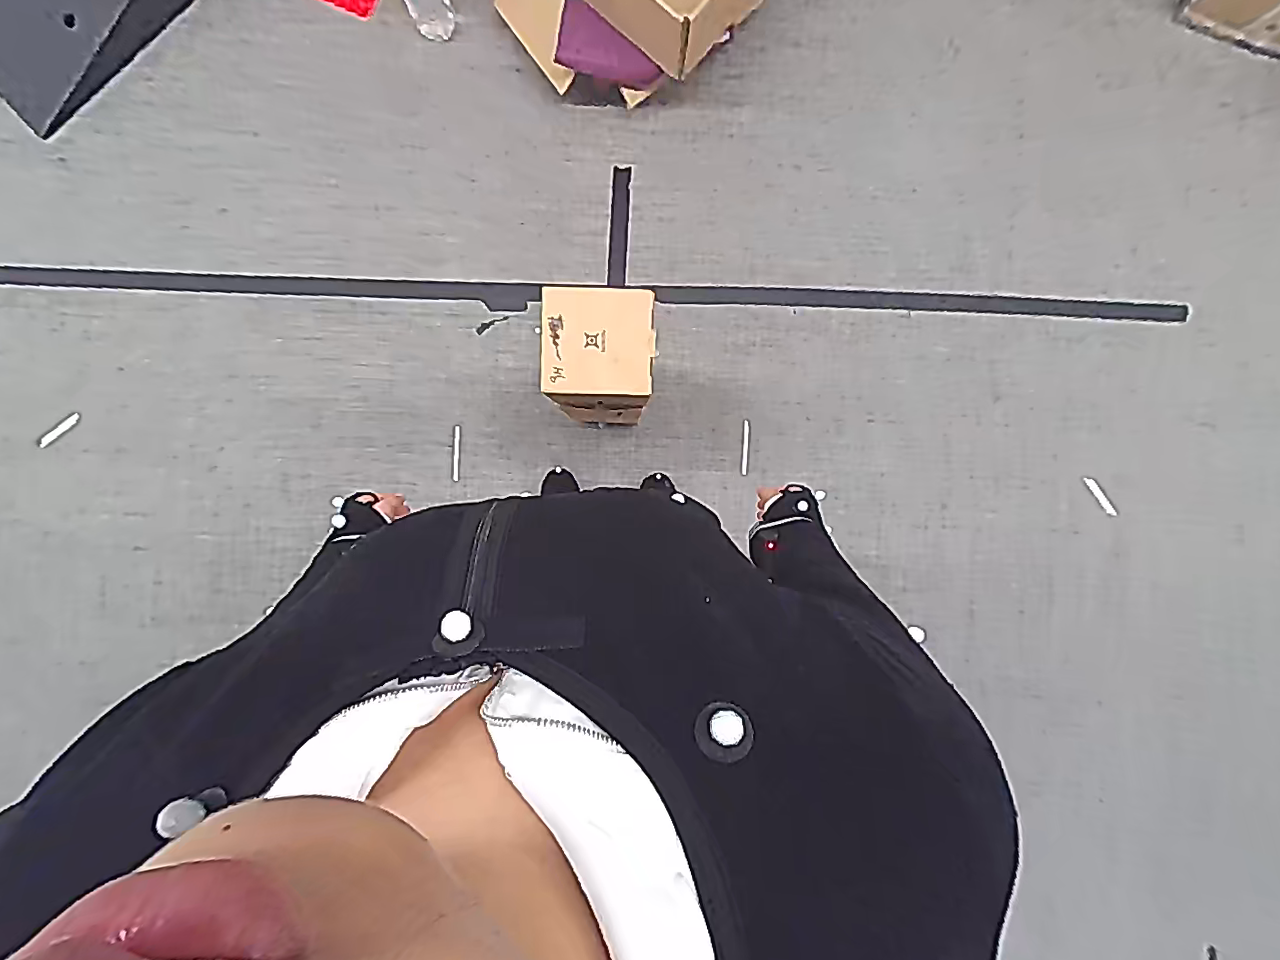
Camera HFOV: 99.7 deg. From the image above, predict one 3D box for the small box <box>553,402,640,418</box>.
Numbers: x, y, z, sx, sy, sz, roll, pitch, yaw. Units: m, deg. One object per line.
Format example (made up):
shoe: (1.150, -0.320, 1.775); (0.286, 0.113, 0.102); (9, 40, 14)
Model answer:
small box: (-0.079, -0.220, 1.089); (0.168, 0.176, 0.179); (2, 91, -2)

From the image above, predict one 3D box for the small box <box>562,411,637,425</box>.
small box: (-0.086, -0.223, 1.251); (0.168, 0.176, 0.179); (3, 93, -1)

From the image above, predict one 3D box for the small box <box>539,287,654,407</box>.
small box: (-0.073, -0.217, 0.924); (0.179, 0.176, 0.168); (2, 91, -3)
